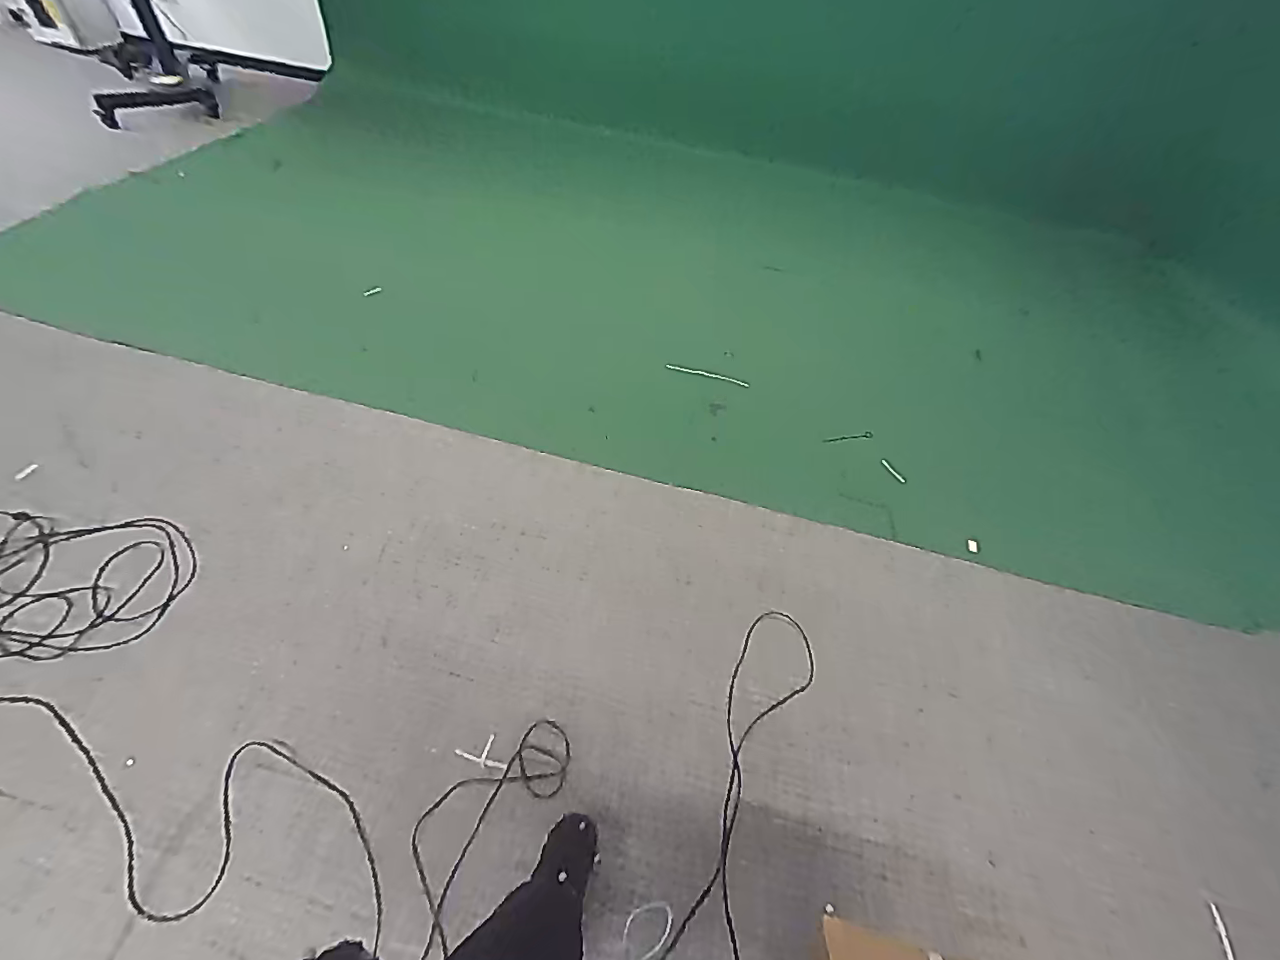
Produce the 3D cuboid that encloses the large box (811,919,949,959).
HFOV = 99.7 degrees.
[{"bbox_3d":[0.350,0.831,0.592,0.320,0.408,0.320,14,90,10],"label":"large box"}]
